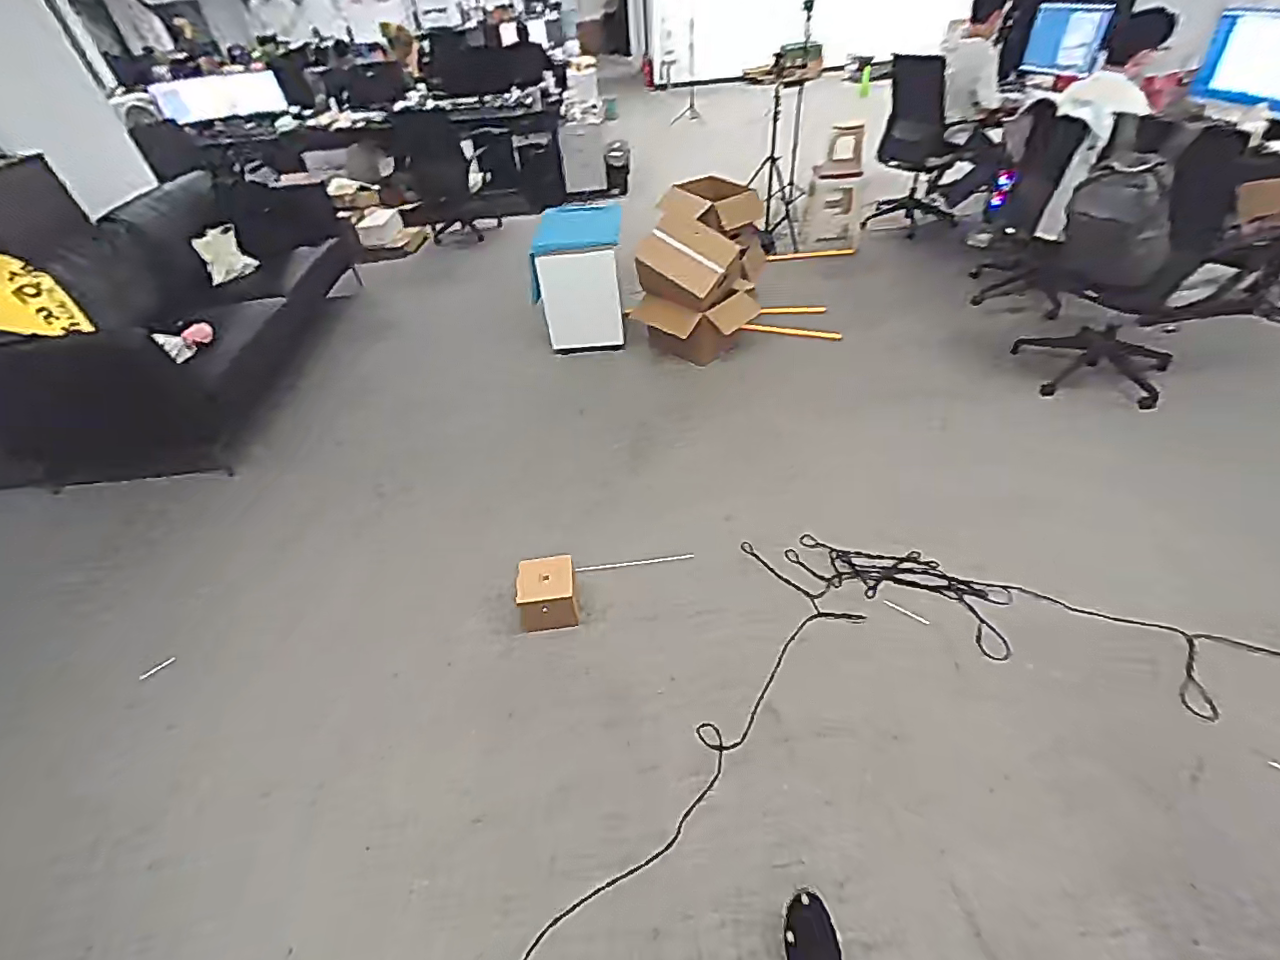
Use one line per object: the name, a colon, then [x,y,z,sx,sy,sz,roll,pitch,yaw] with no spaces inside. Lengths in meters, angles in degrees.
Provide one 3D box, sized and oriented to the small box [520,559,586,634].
small box: [-0.277,0.382,1.754,0.179,0.176,0.168,-7,42,0]
